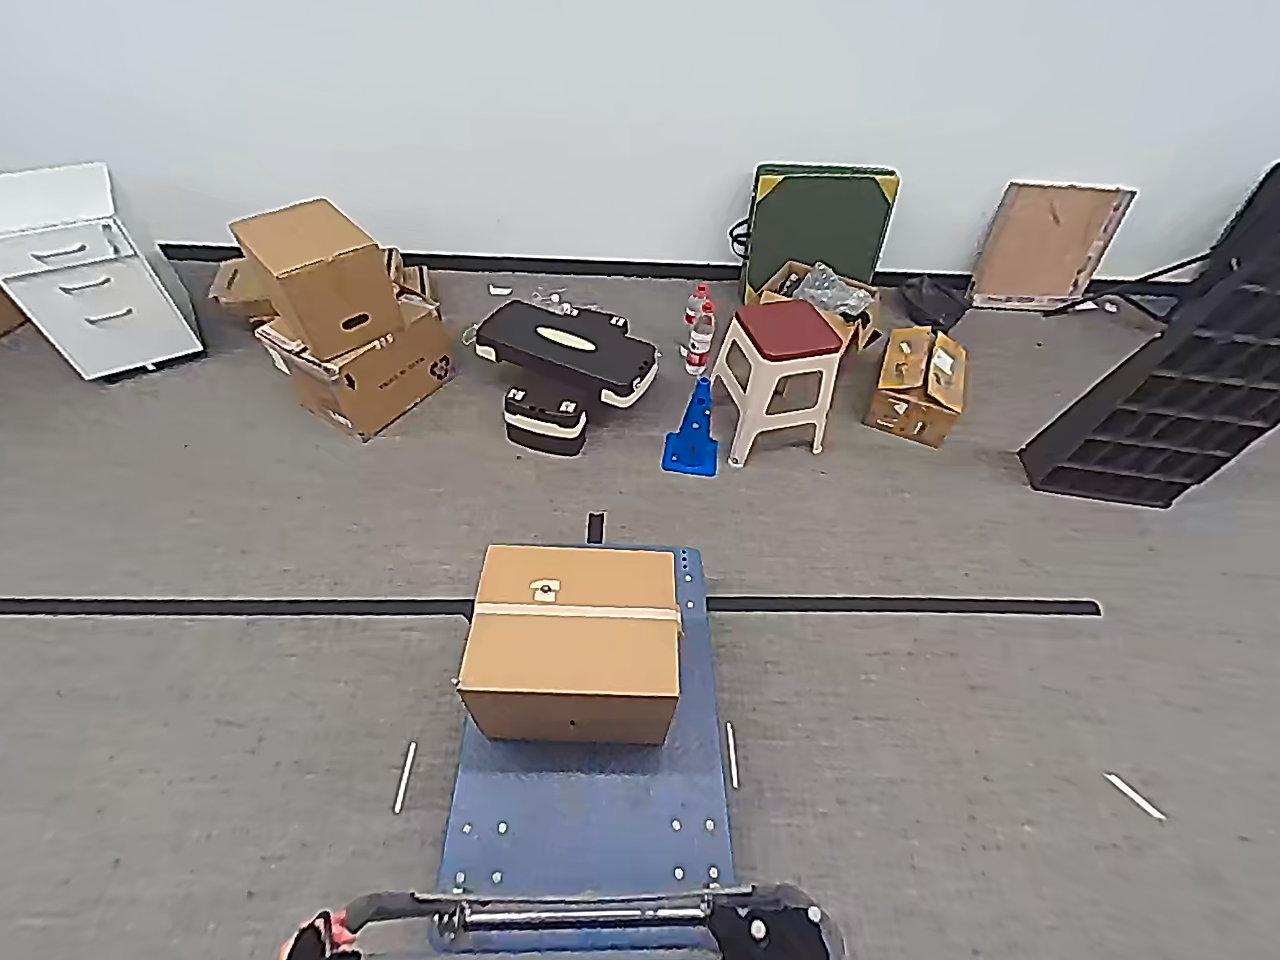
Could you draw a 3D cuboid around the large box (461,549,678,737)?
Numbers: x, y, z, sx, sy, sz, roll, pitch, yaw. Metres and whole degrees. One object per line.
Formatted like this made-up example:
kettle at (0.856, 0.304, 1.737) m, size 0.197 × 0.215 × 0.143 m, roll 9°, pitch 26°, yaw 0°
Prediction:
large box at (-0.133, 0.367, 1.196) m, size 0.408 × 0.320 × 0.320 m, roll 2°, pitch 49°, yaw -1°
